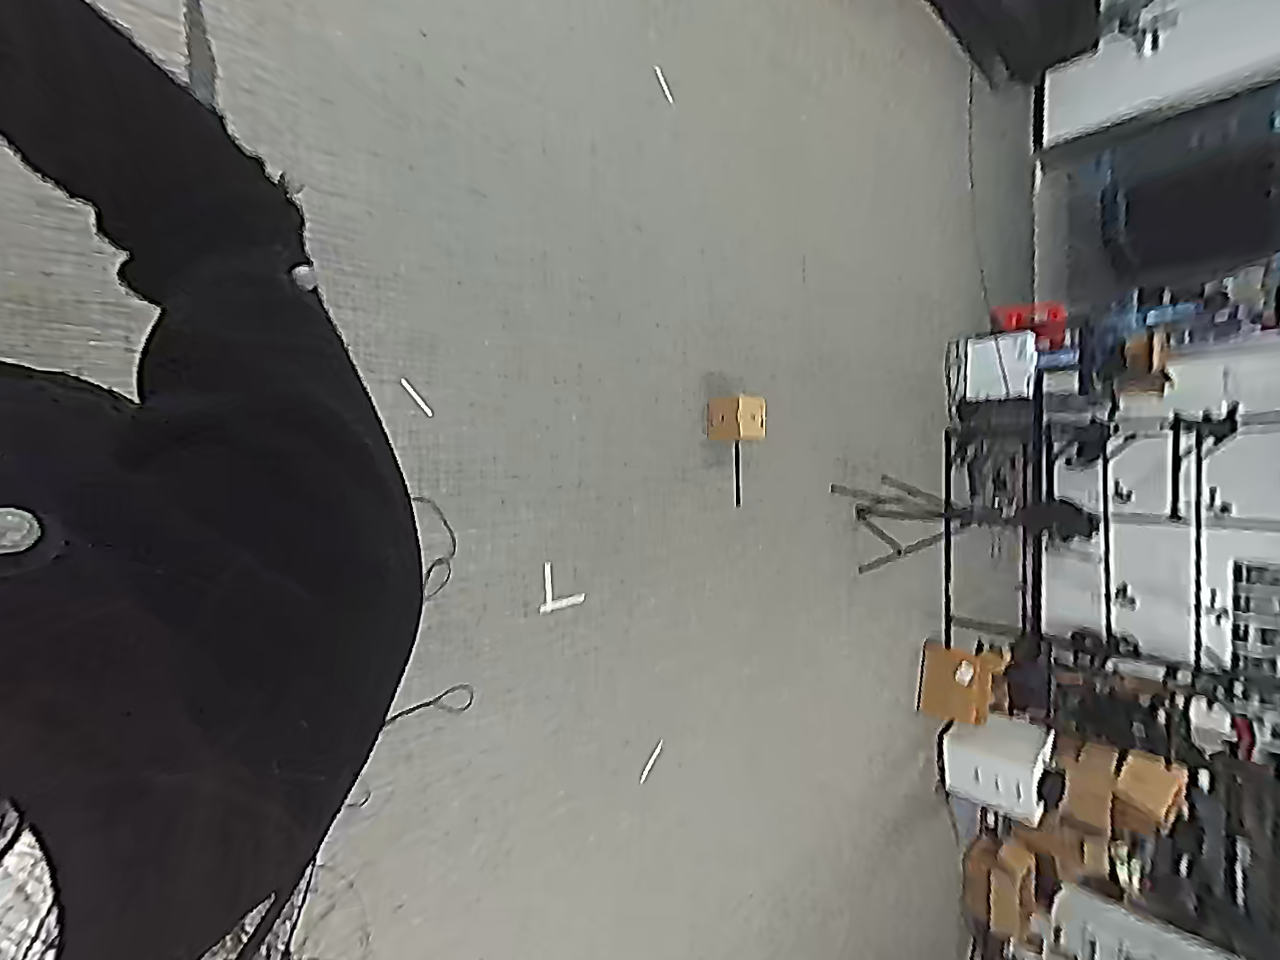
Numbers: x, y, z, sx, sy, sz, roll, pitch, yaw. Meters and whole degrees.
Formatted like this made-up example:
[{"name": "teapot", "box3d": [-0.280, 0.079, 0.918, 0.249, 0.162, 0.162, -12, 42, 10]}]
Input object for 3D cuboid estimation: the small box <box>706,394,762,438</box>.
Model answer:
[{"name": "small box", "box3d": [0.392, -0.262, 2.264, 0.179, 0.176, 0.168, 0, 91, -41]}]
